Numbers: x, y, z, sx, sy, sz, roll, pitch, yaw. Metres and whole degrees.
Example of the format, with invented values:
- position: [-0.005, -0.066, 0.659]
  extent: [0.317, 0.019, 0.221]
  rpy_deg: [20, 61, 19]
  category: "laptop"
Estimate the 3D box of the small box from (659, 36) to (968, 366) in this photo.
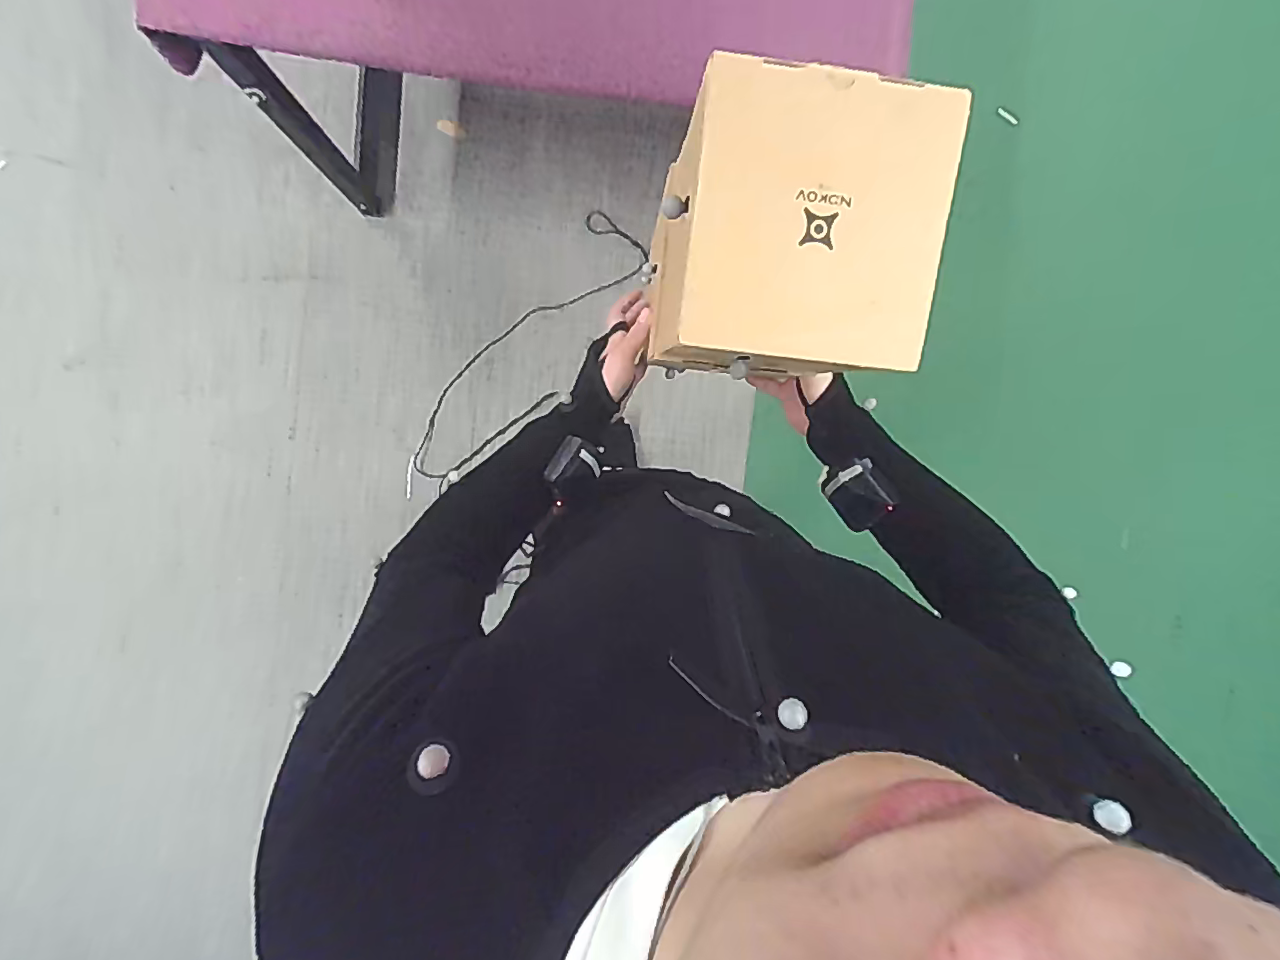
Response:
- position: [0.107, -0.185, 0.418]
  extent: [0.168, 0.176, 0.179]
  rpy_deg: [6, 100, -3]
  category: "small box"

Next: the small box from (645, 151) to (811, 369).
- position: [0.095, -0.214, 0.576]
  extent: [0.168, 0.176, 0.179]
  rpy_deg: [5, 99, -3]
  category: "small box"
